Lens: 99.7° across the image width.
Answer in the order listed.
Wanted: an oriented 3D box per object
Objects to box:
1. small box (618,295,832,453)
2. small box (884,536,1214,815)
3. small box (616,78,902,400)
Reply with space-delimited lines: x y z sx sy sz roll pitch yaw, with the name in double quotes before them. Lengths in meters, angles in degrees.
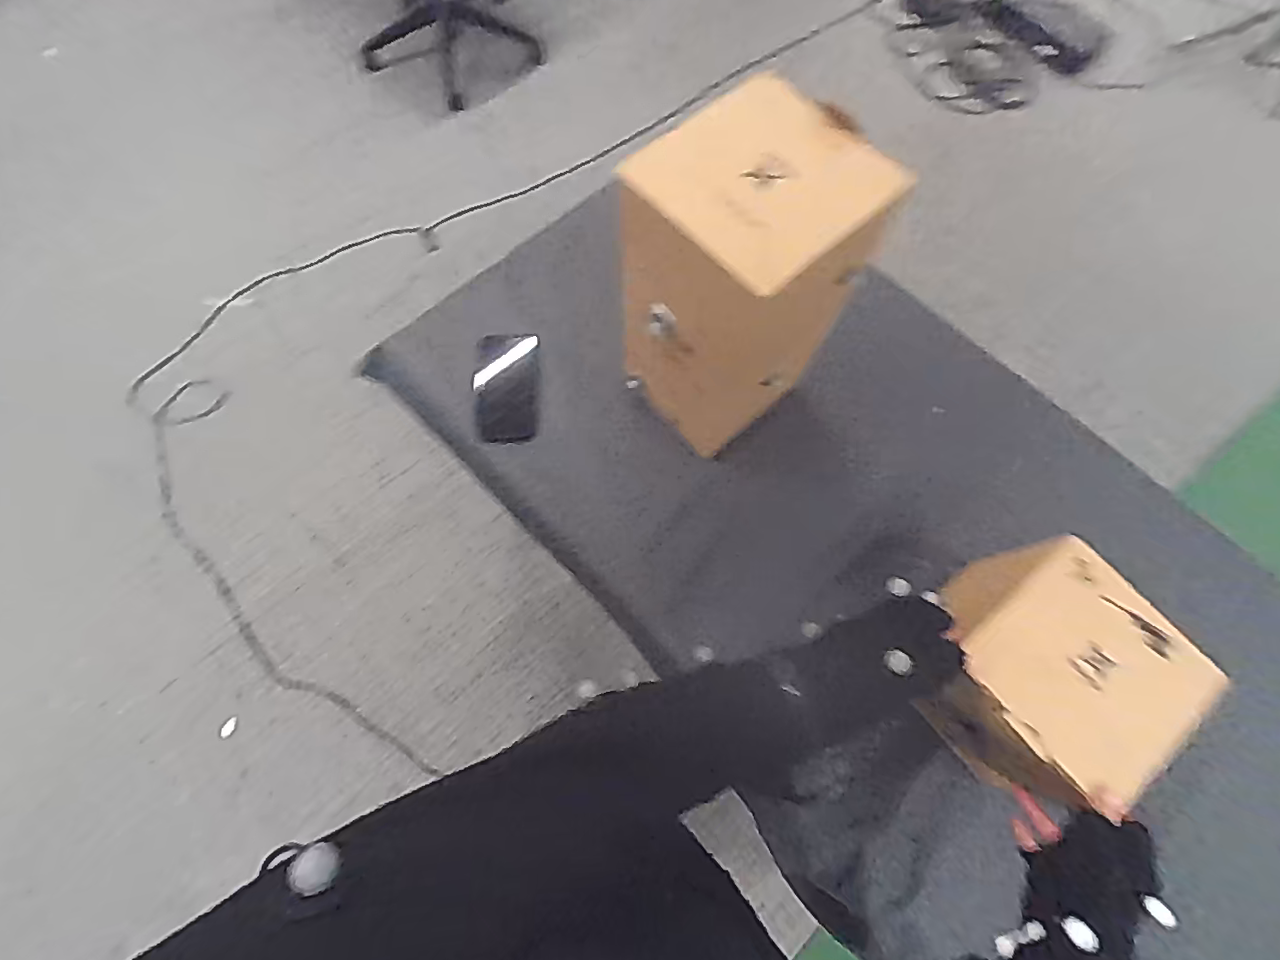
"small box" 0.092 -0.161 0.659 0.179 0.176 0.168 -40 76 -15
"small box" 0.379 0.188 0.544 0.179 0.176 0.168 -37 75 -13
"small box" 0.093 -0.211 0.505 0.179 0.176 0.168 -41 76 -13
